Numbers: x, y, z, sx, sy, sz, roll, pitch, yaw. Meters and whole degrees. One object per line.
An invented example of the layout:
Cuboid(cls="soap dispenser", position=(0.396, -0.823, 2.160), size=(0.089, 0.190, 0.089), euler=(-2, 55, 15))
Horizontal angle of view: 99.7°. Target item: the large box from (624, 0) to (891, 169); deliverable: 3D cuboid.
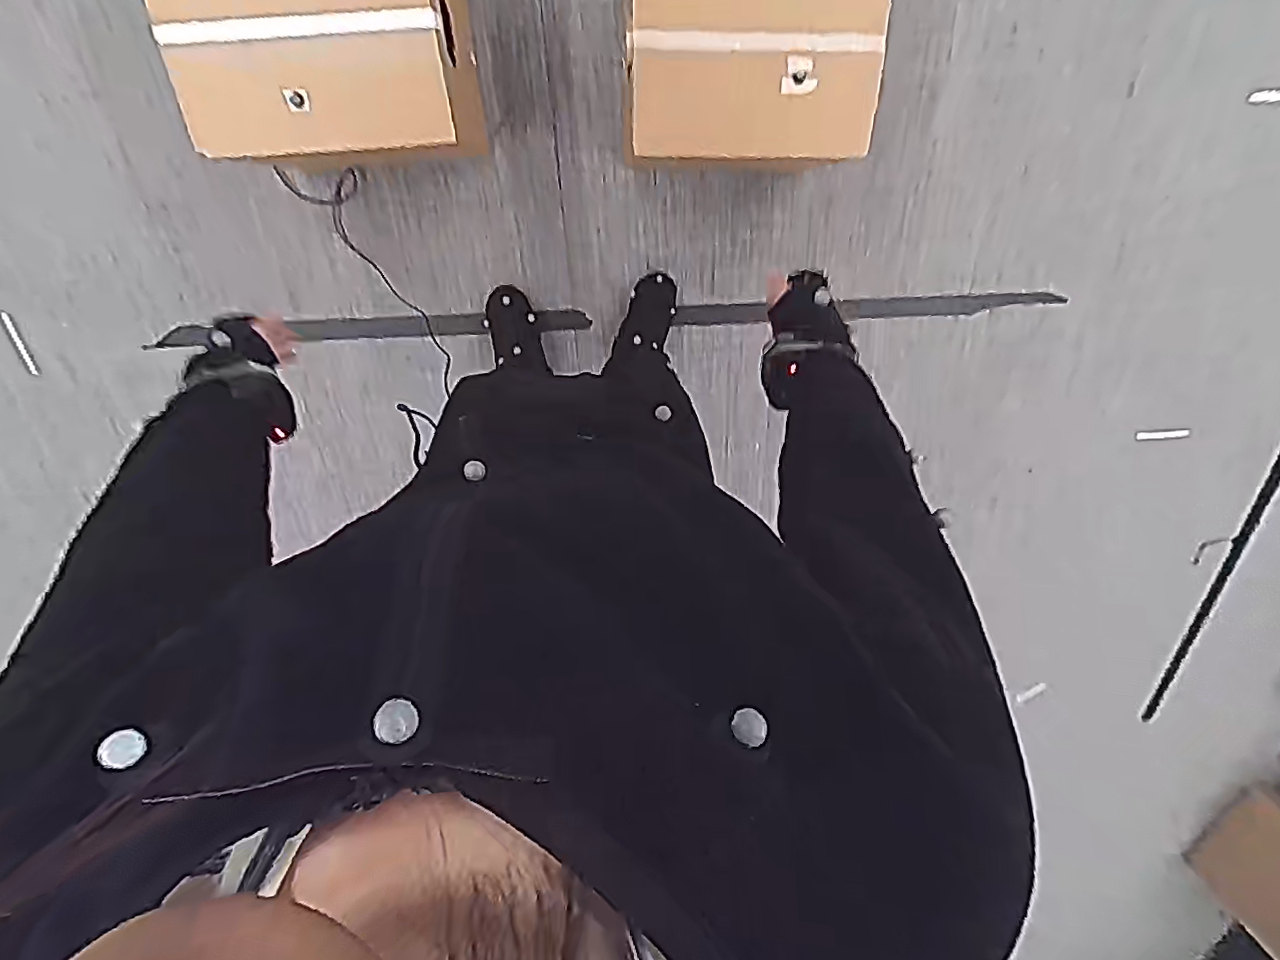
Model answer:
Cuboid(cls="large box", position=(0.180, -0.758, 0.984), size=(0.408, 0.320, 0.320), euler=(-2, 117, -5))
